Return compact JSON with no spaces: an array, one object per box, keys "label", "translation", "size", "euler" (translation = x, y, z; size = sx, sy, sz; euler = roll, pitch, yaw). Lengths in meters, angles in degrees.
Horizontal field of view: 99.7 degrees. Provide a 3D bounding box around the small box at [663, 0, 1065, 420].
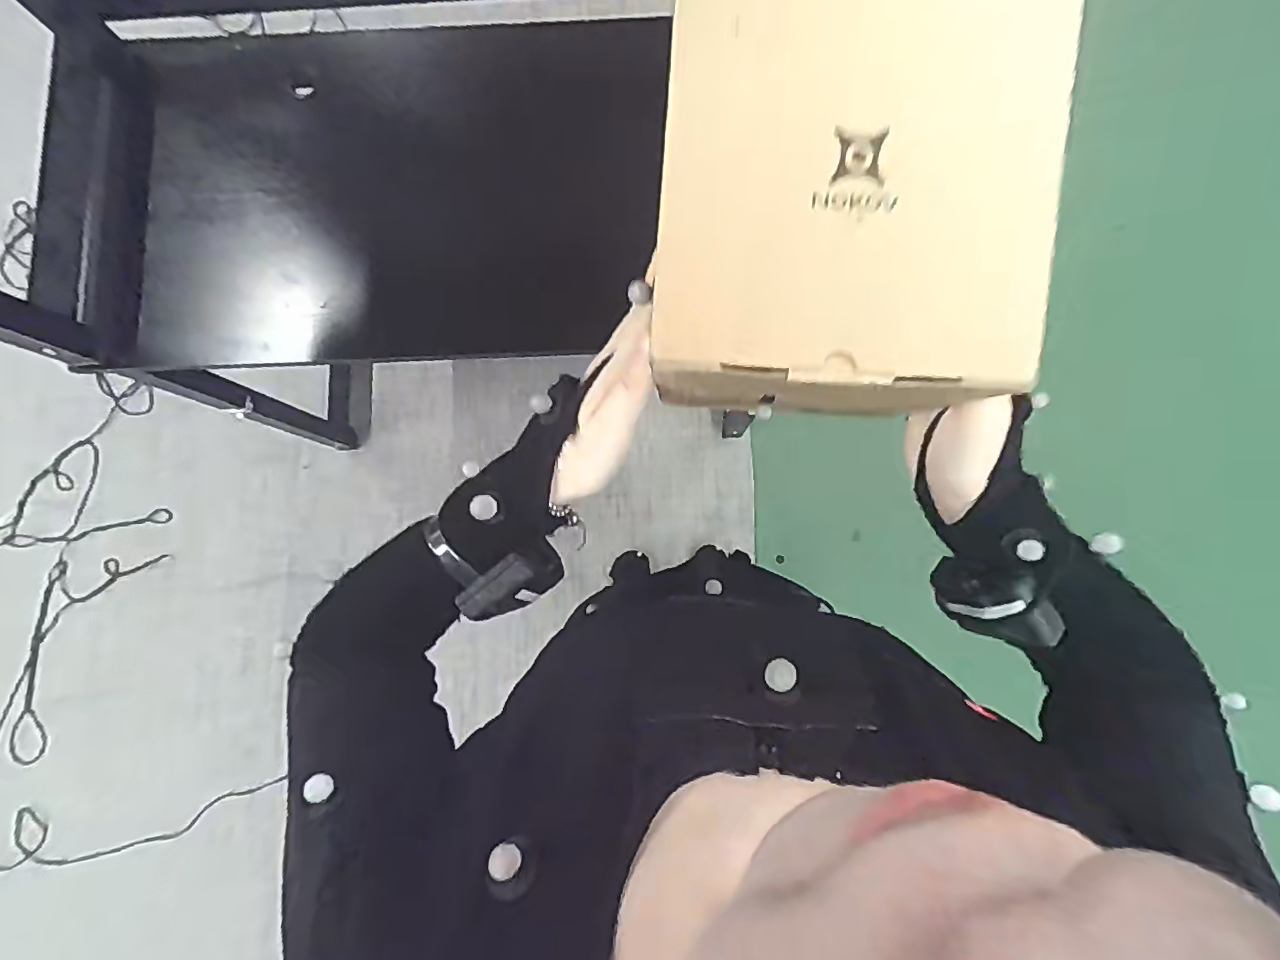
[{"label":"small box","translation":[0.100,-0.132,0.319],"size":[0.168,0.176,0.179],"euler":[3,94,3]}]
